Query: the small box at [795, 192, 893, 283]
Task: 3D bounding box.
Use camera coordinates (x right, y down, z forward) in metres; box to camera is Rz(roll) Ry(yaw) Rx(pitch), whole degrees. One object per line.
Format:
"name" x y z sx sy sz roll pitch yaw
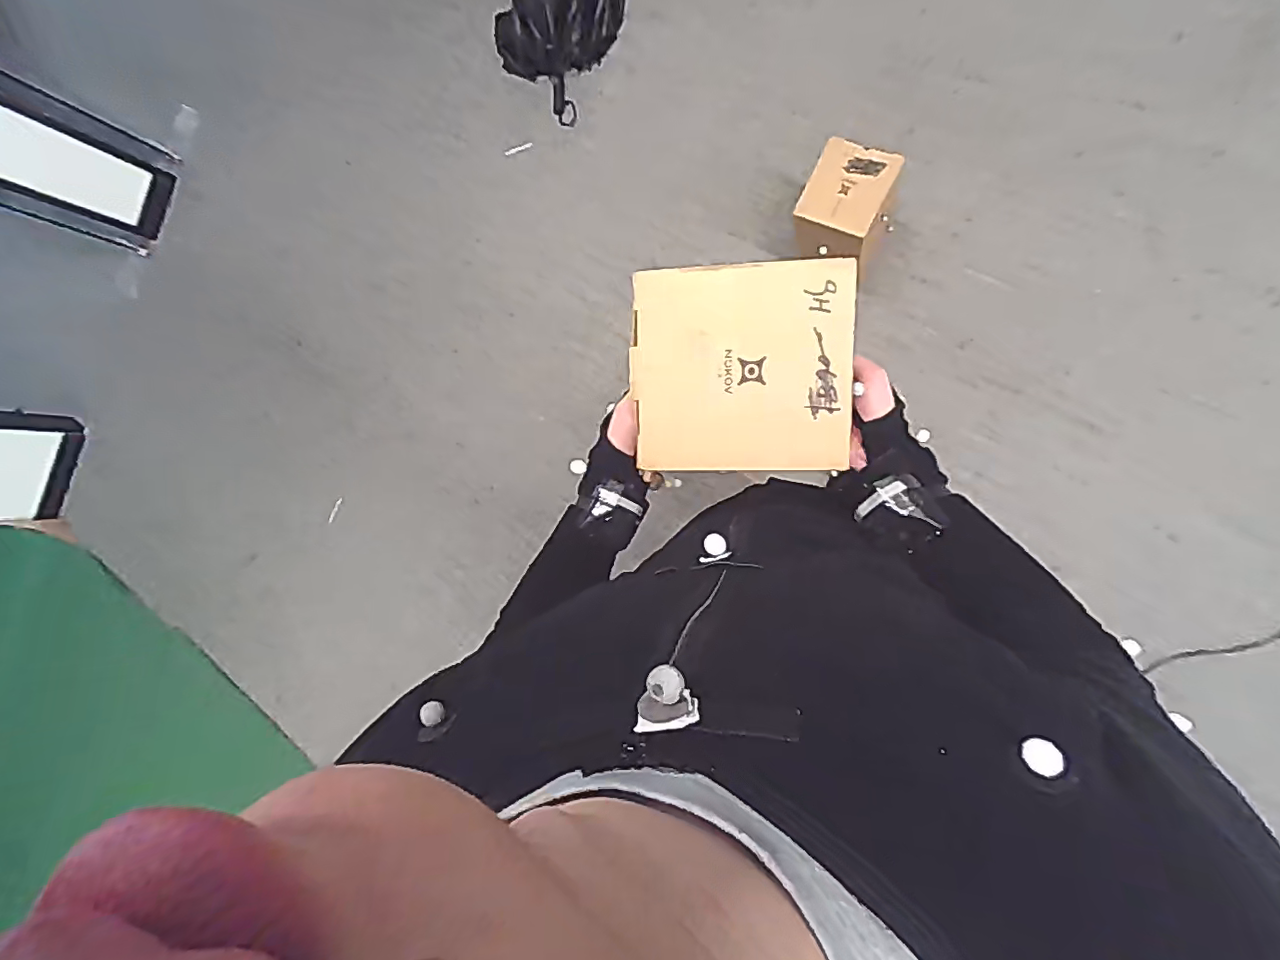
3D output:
"small box" 0.511 -0.631 1.369 0.168 0.176 0.179 30 101 17

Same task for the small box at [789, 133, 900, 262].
"small box" 0.452 -0.625 1.215 0.168 0.176 0.179 29 100 17
